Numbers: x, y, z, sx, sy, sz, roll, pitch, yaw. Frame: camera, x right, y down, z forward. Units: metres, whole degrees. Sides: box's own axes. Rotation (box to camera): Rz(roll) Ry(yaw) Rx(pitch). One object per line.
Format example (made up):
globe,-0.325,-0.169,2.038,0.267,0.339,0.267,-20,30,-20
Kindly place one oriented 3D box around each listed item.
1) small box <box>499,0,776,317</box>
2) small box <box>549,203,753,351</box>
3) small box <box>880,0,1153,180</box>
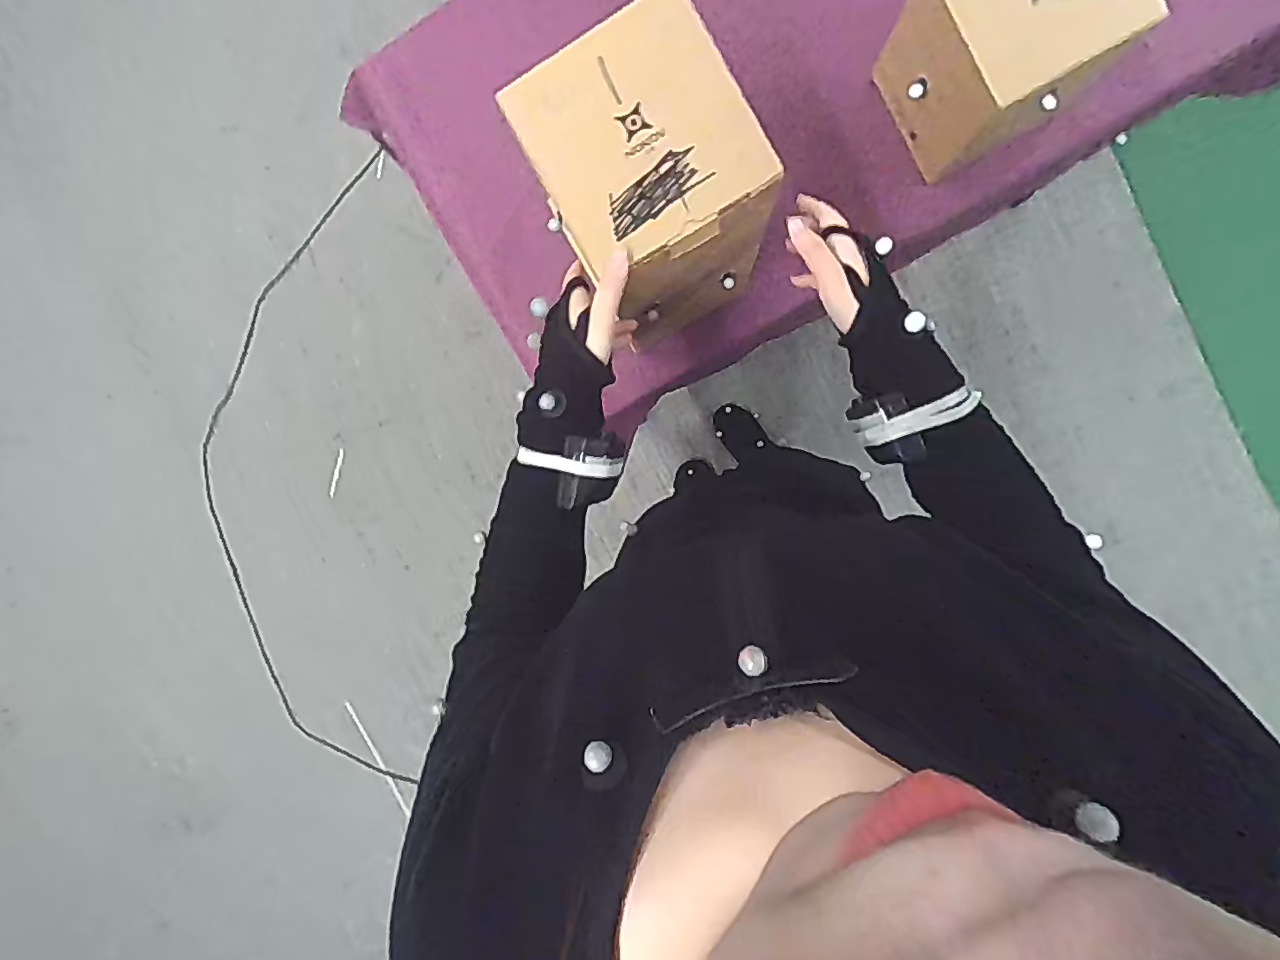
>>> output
small box,0.004,-0.272,0.505,0.168,0.176,0.179,-30,90,5
small box,0.018,-0.281,0.669,0.179,0.176,0.168,-30,91,5
small box,0.402,-0.489,0.620,0.179,0.176,0.168,-28,92,6
